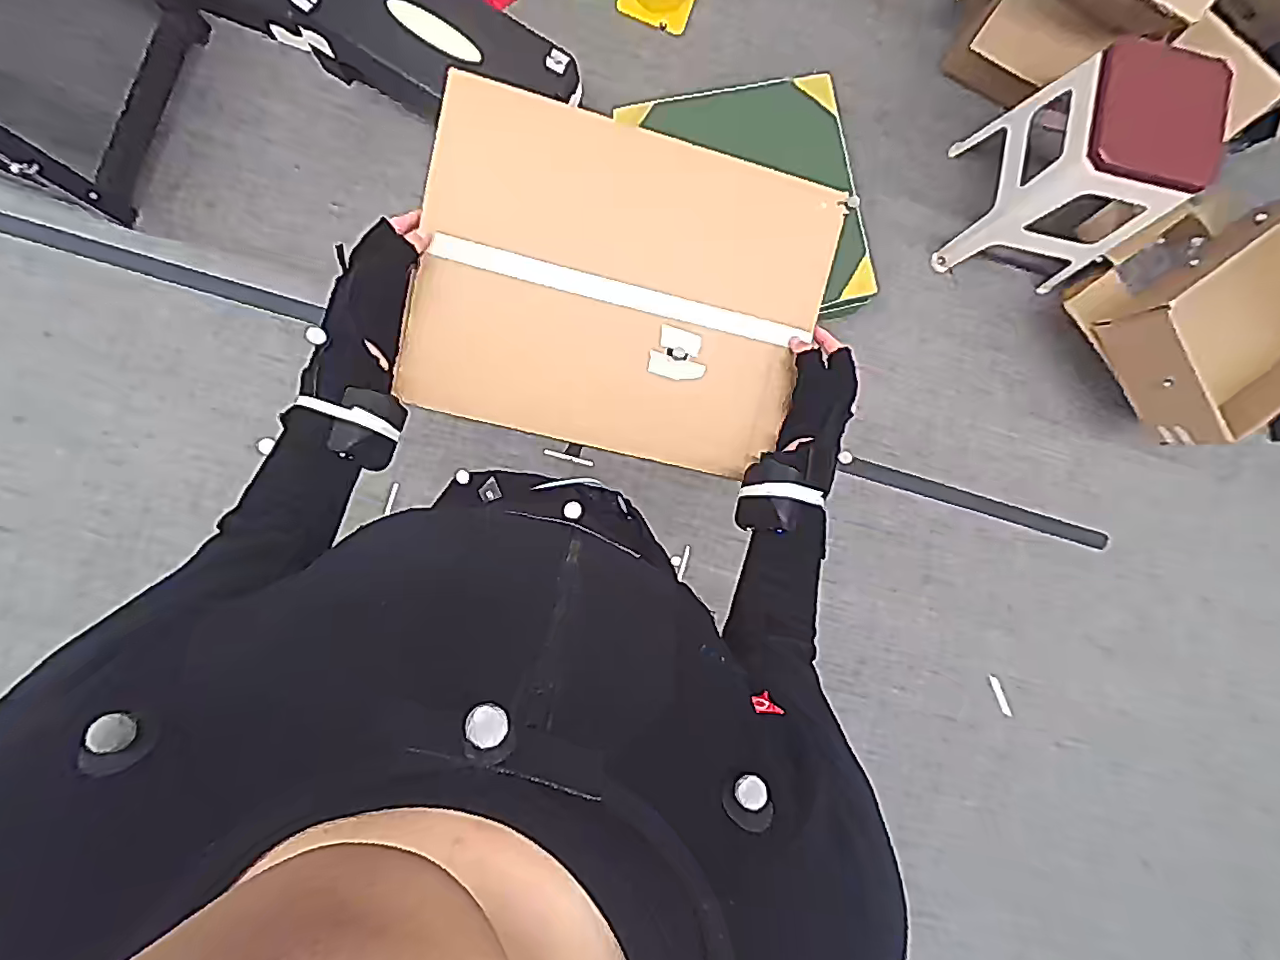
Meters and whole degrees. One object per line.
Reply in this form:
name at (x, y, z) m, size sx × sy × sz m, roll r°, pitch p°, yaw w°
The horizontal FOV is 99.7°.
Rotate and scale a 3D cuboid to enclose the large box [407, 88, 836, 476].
large box at (-0.034, -0.210, 0.706) m, size 0.408 × 0.320 × 0.320 m, roll 13°, pitch 97°, yaw -9°
